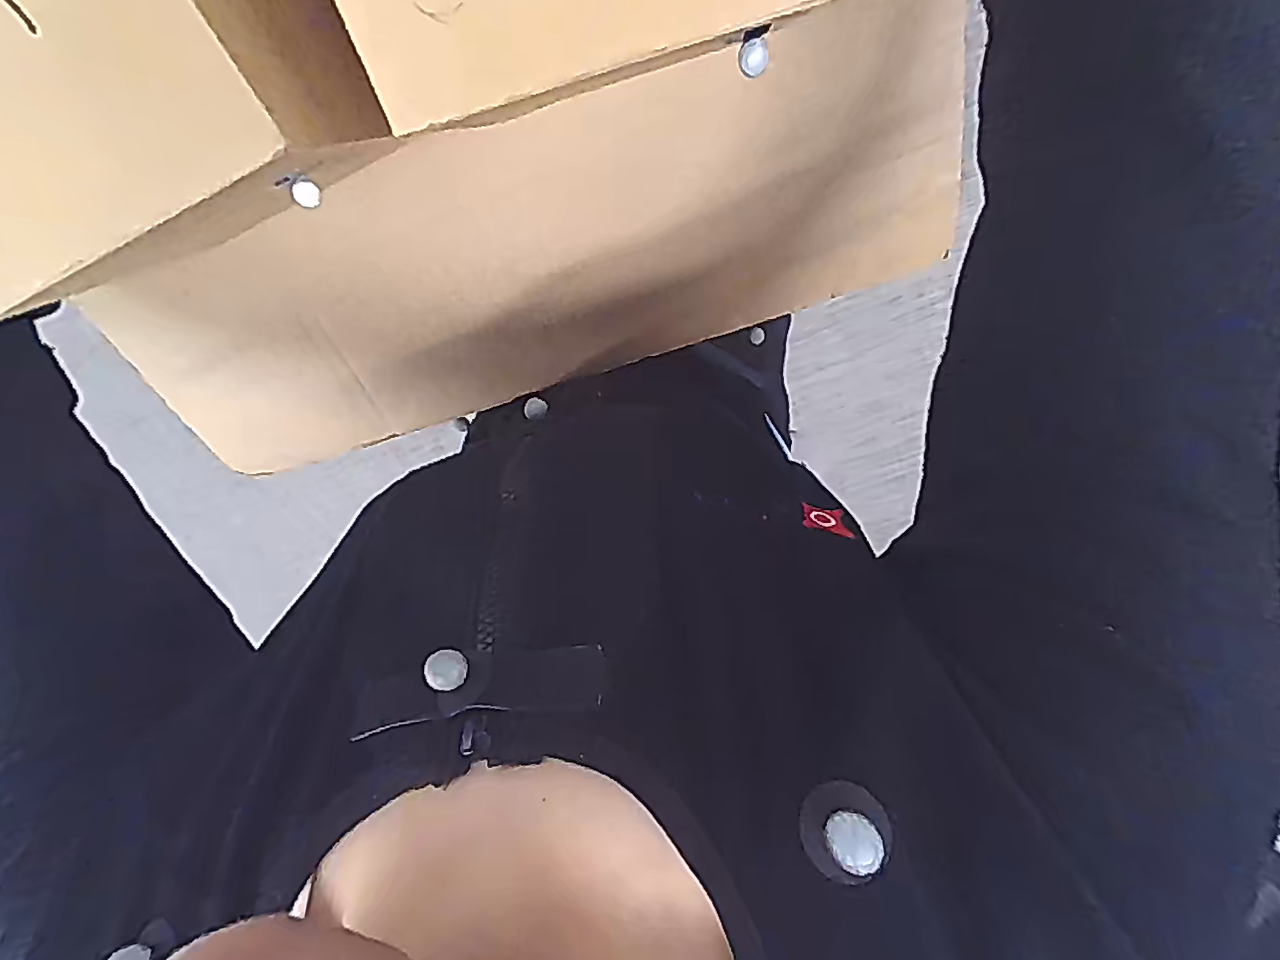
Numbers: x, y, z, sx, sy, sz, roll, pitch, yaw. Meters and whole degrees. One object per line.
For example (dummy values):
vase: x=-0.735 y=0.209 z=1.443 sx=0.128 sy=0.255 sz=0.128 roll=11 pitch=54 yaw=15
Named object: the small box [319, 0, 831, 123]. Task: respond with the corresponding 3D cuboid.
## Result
small box: x=-0.031 y=-0.252 z=0.203 sx=0.179 sy=0.176 sz=0.168 roll=-12 pitch=126 yaw=6
